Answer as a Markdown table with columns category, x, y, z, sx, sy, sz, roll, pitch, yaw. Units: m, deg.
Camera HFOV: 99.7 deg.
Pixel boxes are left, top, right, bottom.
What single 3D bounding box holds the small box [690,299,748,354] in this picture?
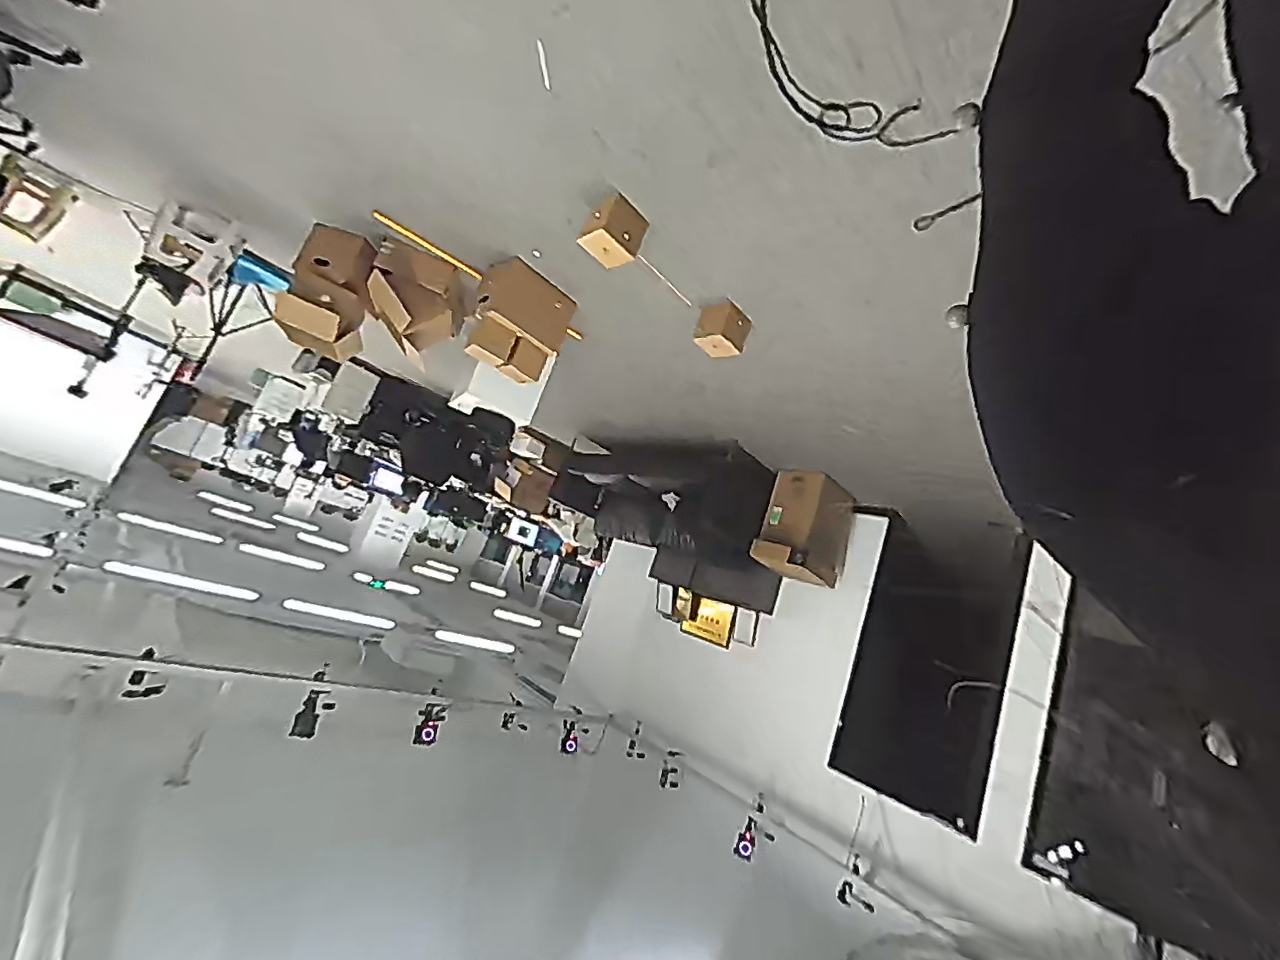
| category | x | y | z | sx | sy | sz | roll | pitch | yaw |
| --- | --- | --- | --- | --- | --- | --- | --- | --- | --- |
| small box | 0.361 | -0.694 | 2.455 | 0.168 | 0.176 | 0.179 | 28 | 166 | -40 |

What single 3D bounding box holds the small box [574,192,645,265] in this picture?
| category | x | y | z | sx | sy | sz | roll | pitch | yaw |
| --- | --- | --- | --- | --- | --- | --- | --- | --- | --- |
| small box | -0.112 | -0.946 | 2.027 | 0.179 | 0.176 | 0.168 | 28 | 165 | -40 |
